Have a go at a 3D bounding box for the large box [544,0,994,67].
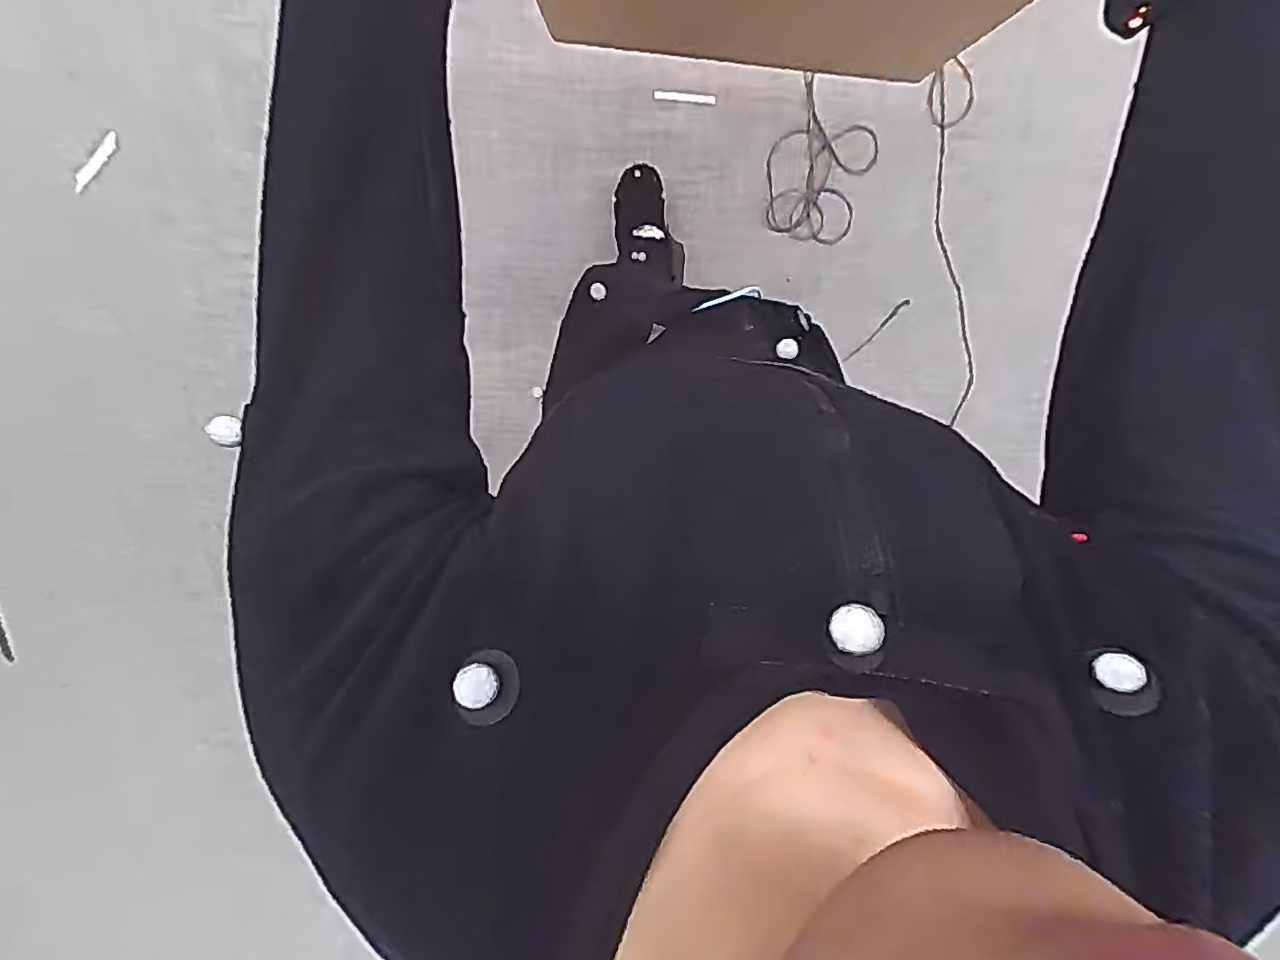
[{"bbox_3d":[0.114,-0.556,0.398,0.408,0.320,0.320,5,111,-2],"label":"large box"}]
